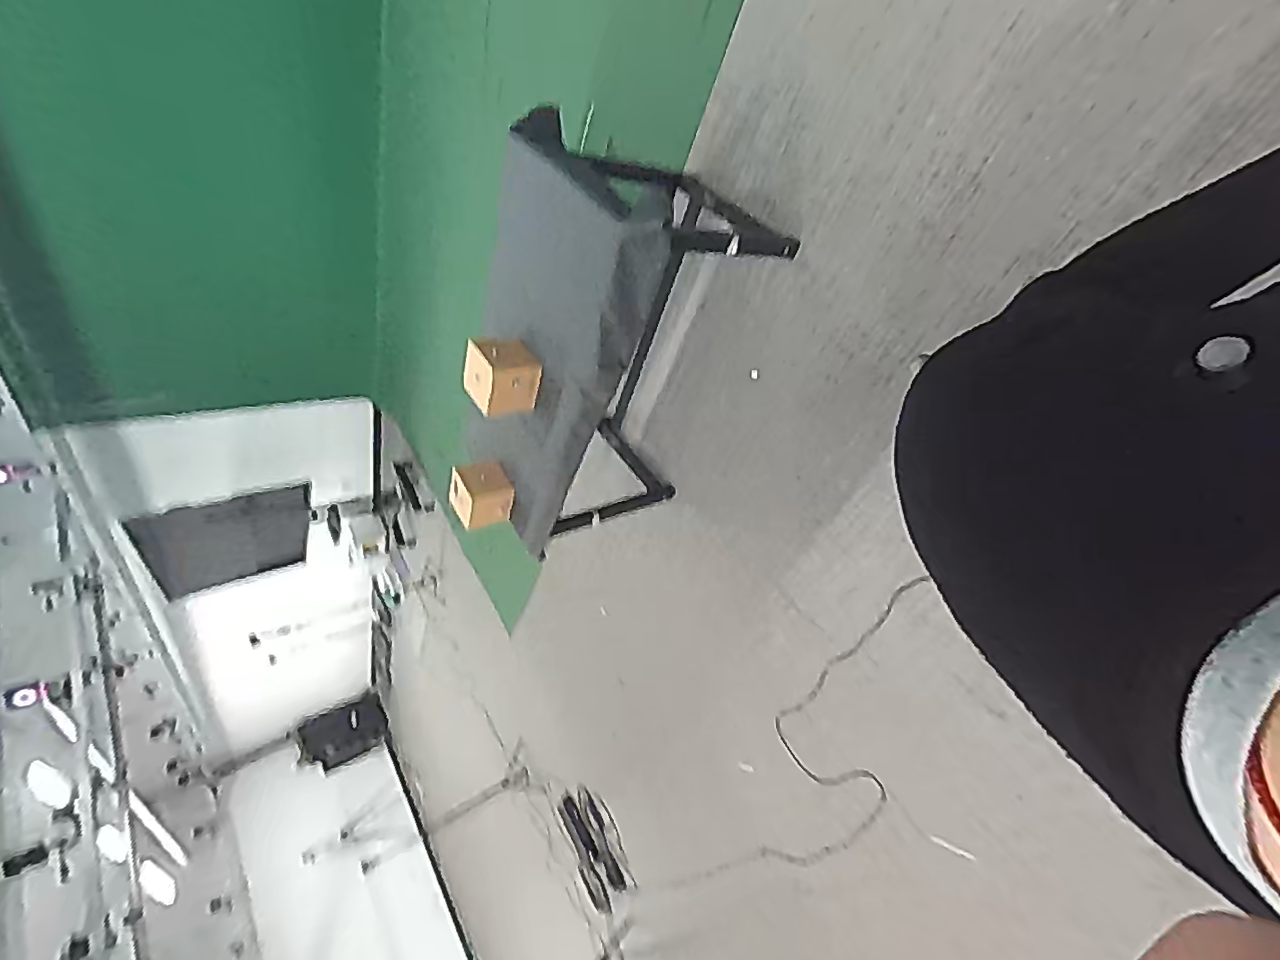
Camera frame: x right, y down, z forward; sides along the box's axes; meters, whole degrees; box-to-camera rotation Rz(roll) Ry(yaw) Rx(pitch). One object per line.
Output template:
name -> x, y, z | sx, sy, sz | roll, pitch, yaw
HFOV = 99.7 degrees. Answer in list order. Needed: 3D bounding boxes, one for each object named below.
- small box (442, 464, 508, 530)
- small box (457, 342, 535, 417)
small box -> -0.611, 0.056, 2.004 | 0.179, 0.176, 0.168 | 50, 135, 29
small box -> -0.449, -0.321, 1.688 | 0.179, 0.176, 0.168 | 50, 134, 30
